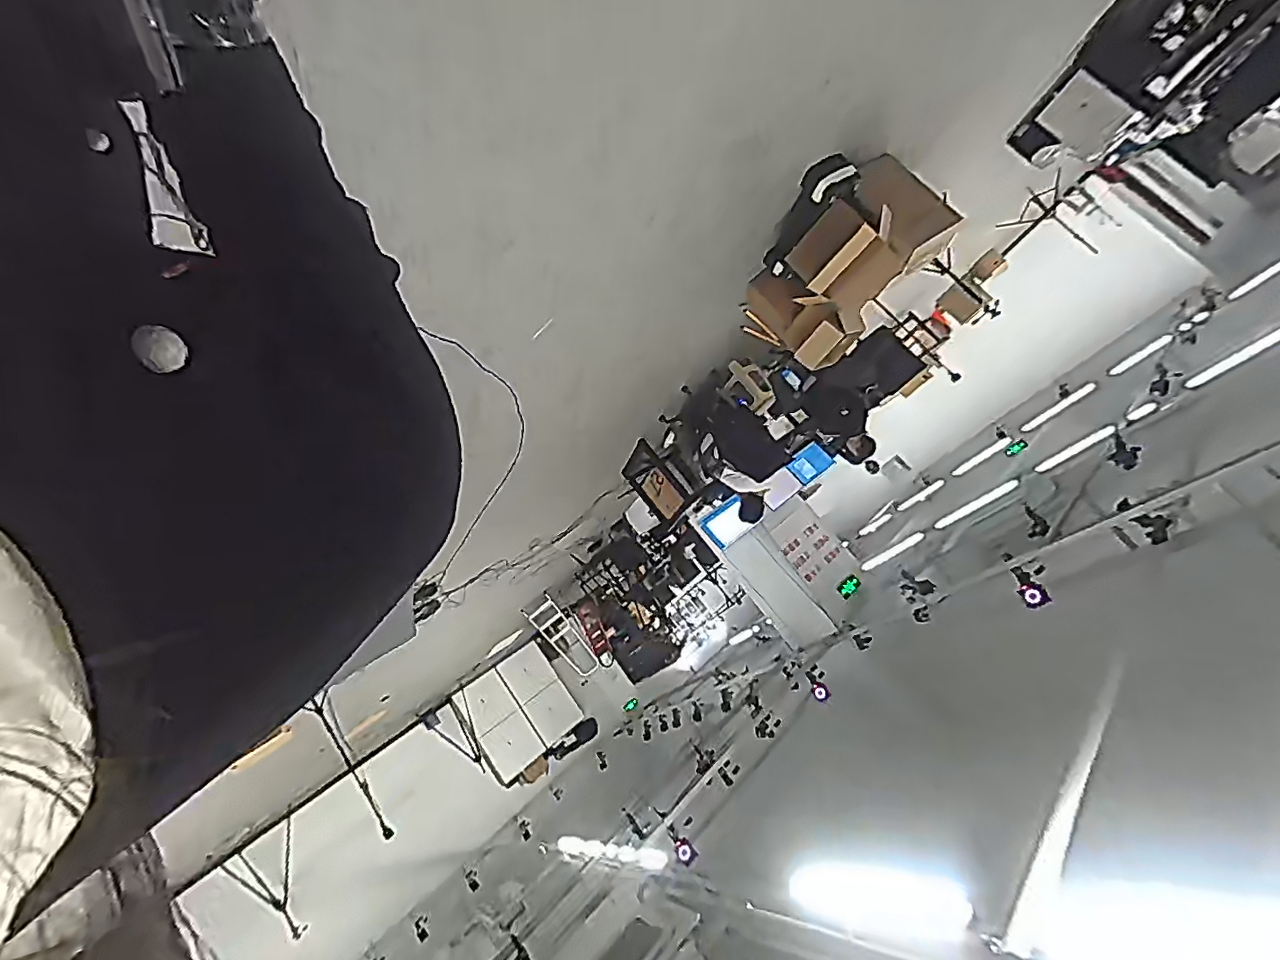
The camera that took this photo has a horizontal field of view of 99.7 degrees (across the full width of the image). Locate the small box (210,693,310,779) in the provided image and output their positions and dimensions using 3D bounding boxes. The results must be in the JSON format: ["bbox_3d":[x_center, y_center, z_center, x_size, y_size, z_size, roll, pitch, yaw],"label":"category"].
[{"bbox_3d":[-1.153,0.774,1.646,0.179,0.176,0.168,-32,166,-27],"label":"small box"}]
